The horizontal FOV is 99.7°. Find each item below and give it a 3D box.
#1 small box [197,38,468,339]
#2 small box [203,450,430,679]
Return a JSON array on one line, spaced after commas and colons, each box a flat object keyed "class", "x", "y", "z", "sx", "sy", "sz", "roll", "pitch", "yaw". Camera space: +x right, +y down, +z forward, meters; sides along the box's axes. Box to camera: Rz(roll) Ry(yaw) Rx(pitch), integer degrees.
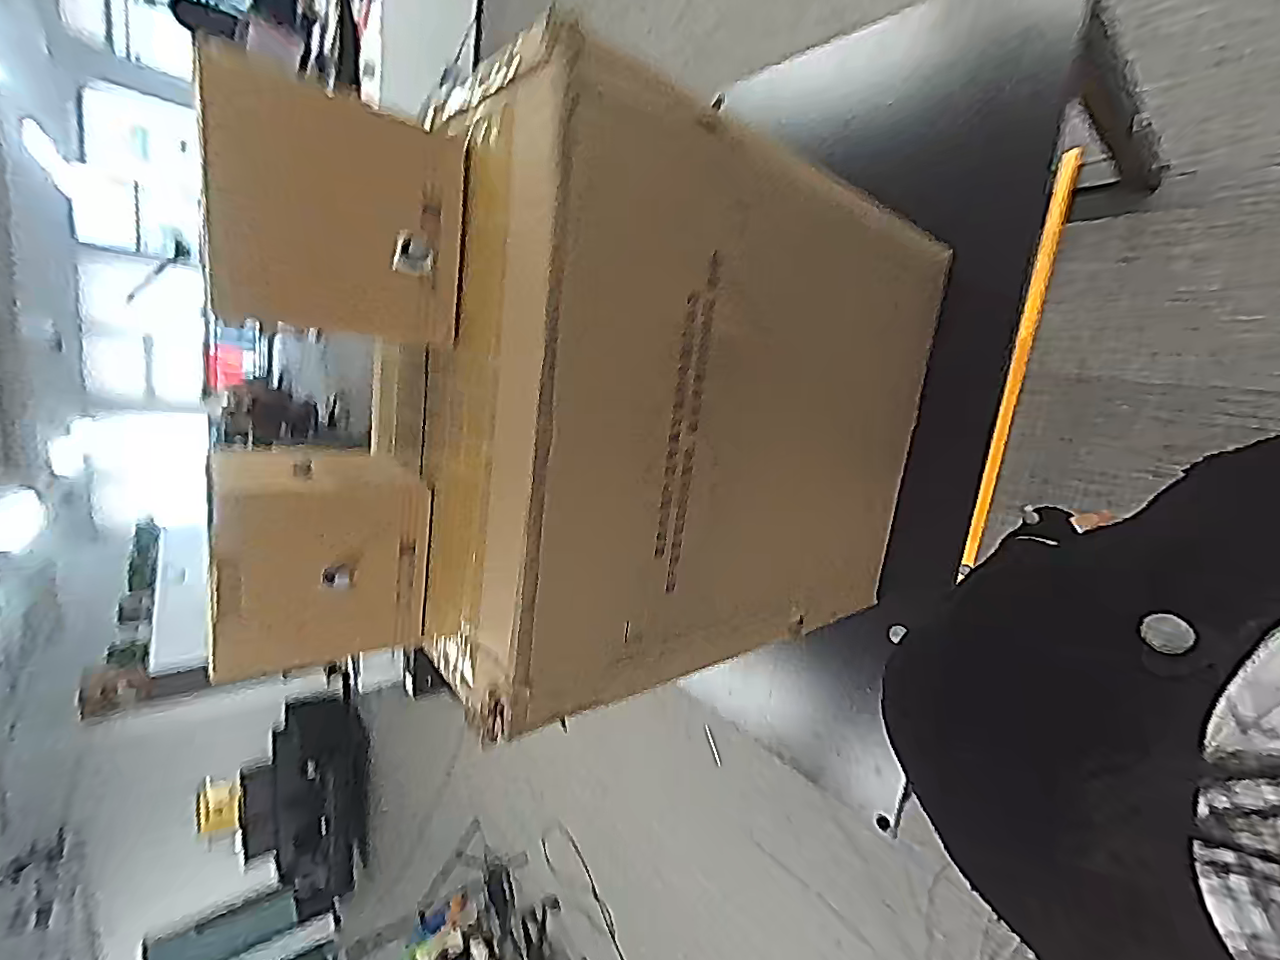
[{"class": "small box", "x": -0.261, "y": -0.214, "z": 0.458, "sx": 0.179, "sy": 0.176, "sz": 0.168, "roll": 21, "pitch": 109, "yaw": 48}, {"class": "small box", "x": -0.322, "y": 0.065, "z": 0.540, "sx": 0.179, "sy": 0.176, "sz": 0.168, "roll": 18, "pitch": 104, "yaw": 48}]
